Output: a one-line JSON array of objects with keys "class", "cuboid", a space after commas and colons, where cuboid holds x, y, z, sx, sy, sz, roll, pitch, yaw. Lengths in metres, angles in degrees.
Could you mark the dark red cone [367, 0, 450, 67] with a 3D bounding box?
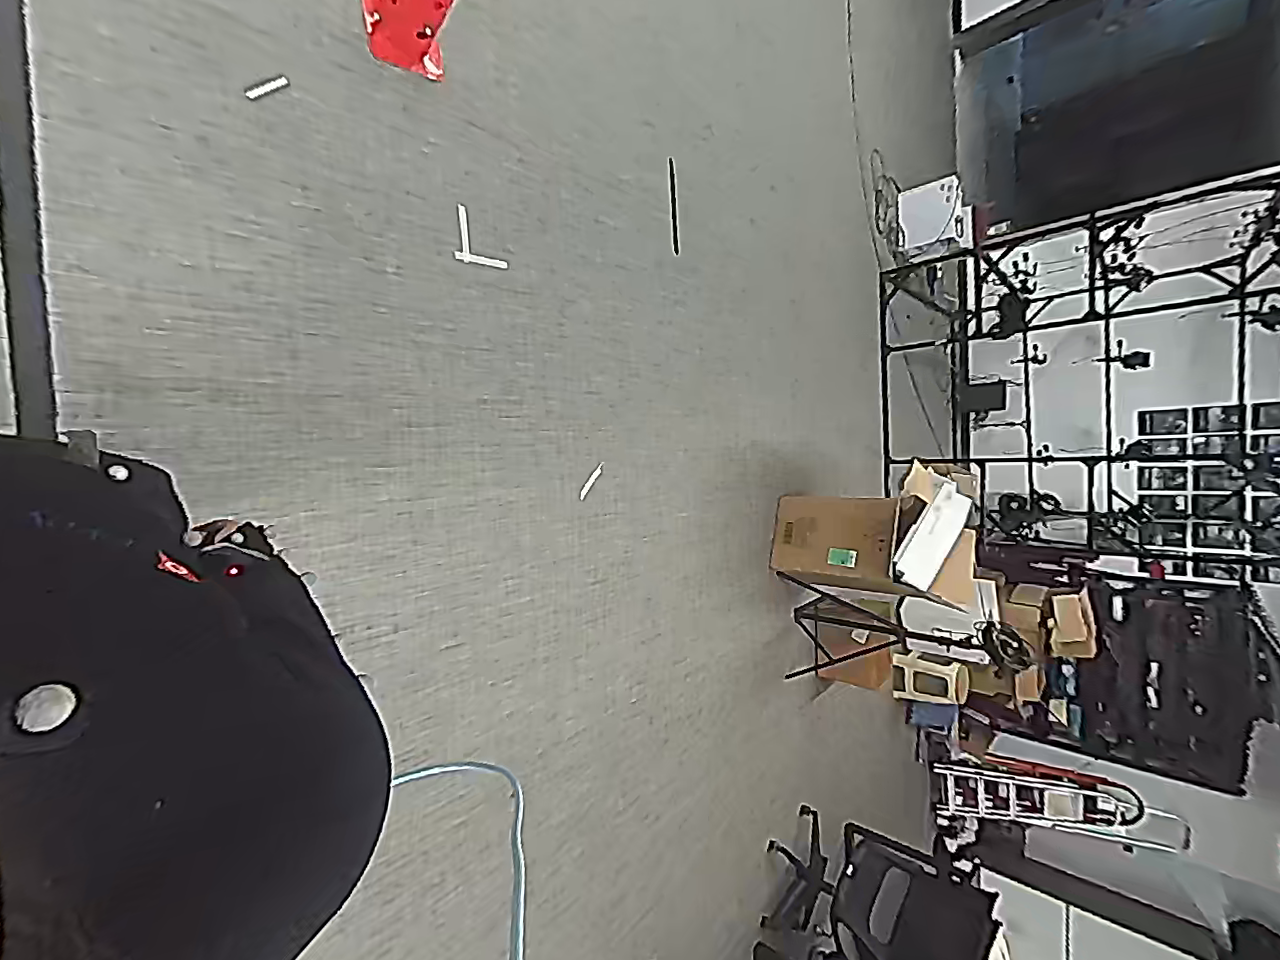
[{"class": "dark red cone", "cuboid": [-0.482, -1.191, 1.277, 0.201, 0.394, 0.202, -16, 102, -45]}]
